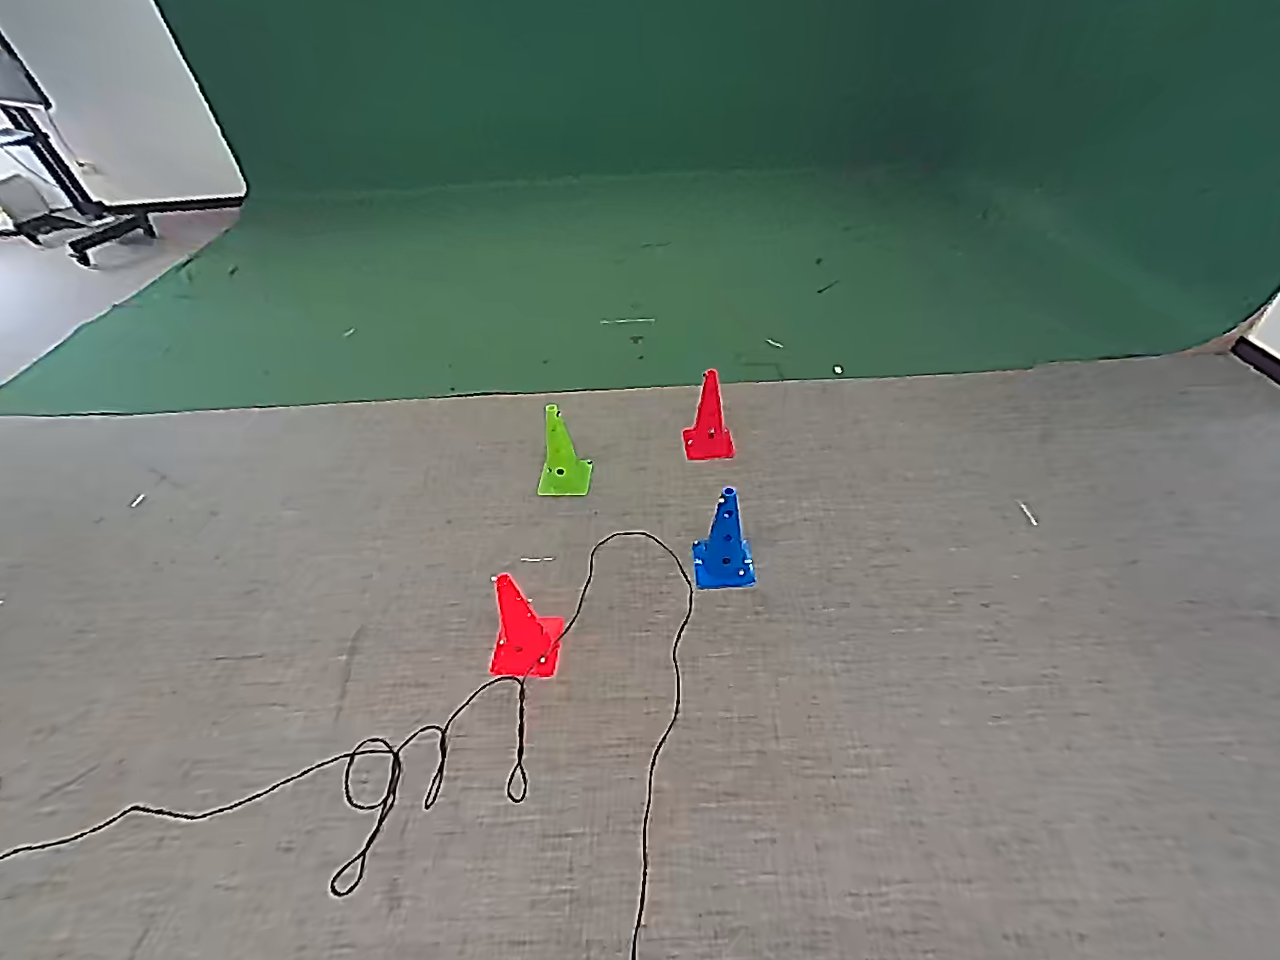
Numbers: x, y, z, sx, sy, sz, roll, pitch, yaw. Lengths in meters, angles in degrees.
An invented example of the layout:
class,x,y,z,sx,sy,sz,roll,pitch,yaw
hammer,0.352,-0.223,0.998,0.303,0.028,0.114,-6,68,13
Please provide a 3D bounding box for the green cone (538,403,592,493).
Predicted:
class,x,y,z,sx,sy,sz,roll,pitch,yaw
green cone,-0.311,-0.142,2.054,0.200,0.368,0.202,-1,46,4

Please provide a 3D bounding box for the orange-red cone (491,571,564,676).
class,x,y,z,sx,sy,sz,roll,pitch,yaw
orange-red cone,-0.349,0.378,1.540,0.198,0.360,0.199,2,44,4
